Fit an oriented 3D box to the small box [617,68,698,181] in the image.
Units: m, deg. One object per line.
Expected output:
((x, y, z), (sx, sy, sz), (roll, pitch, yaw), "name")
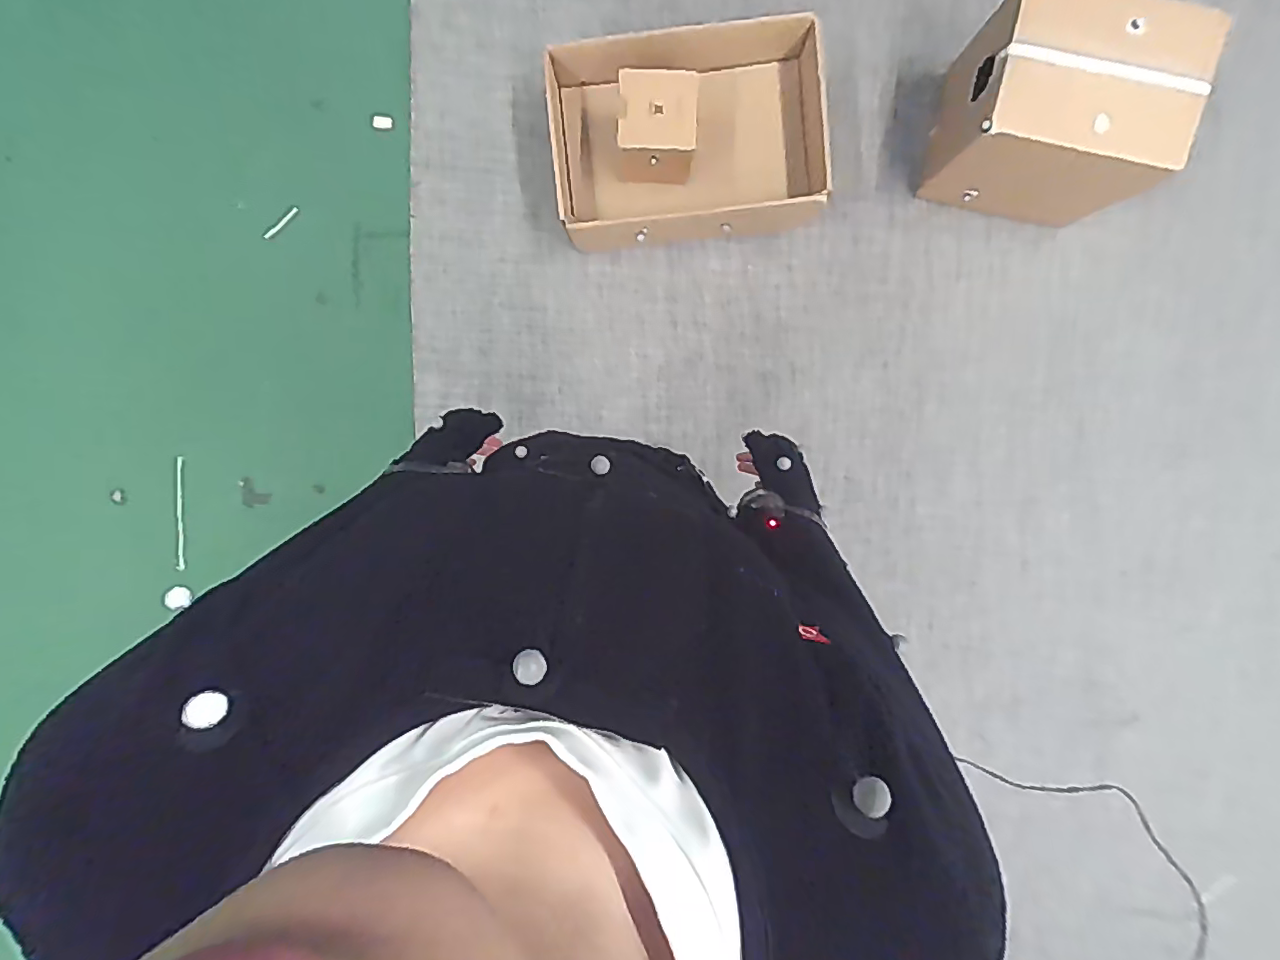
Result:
((0.037, -0.823, 1.268), (0.179, 0.176, 0.168), (1, 95, -1), "small box")
